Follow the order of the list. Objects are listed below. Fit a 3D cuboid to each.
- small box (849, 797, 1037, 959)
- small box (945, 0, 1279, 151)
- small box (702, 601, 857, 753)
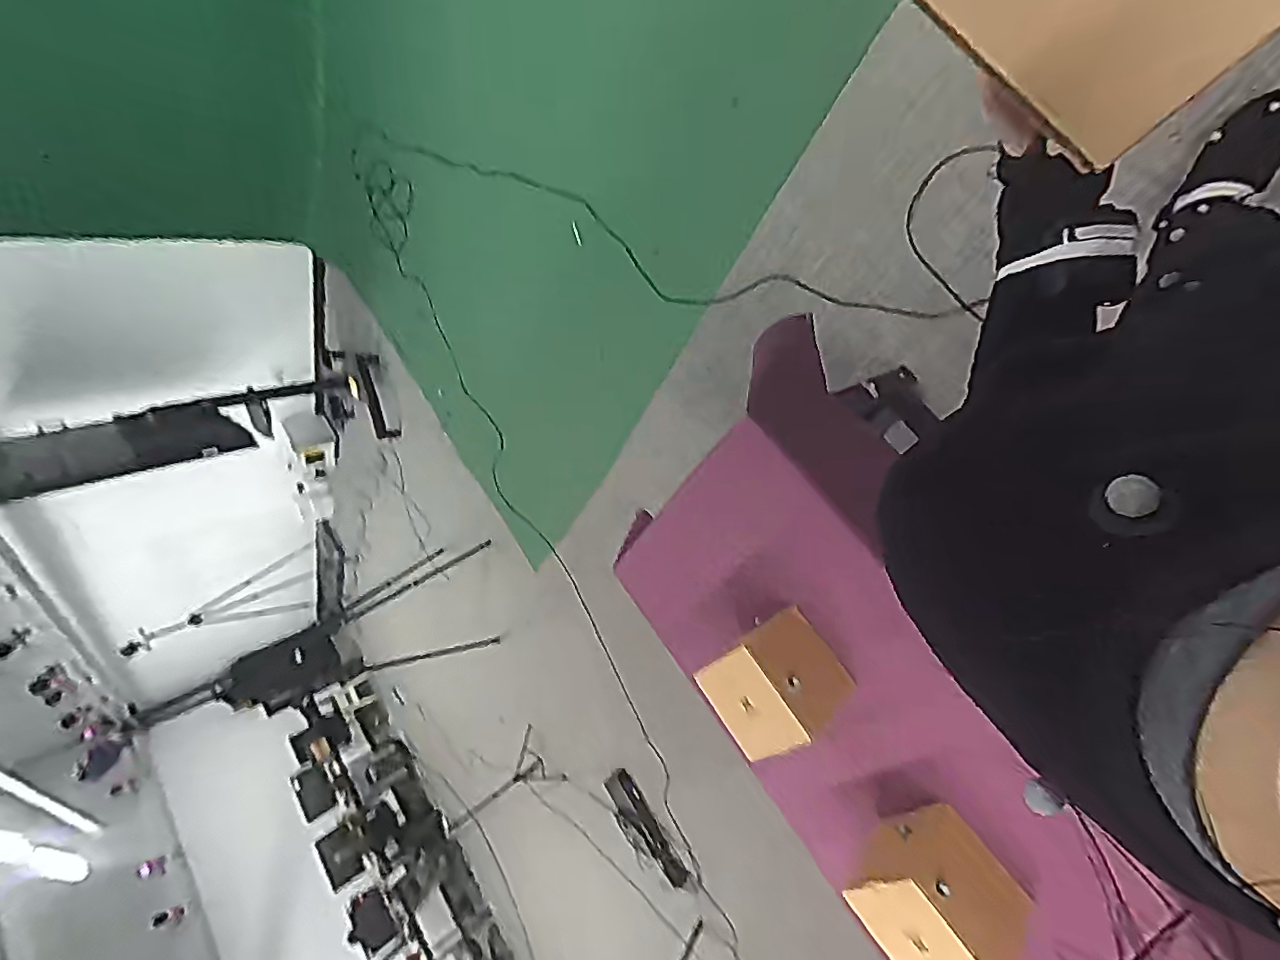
[{"bbox_3d":[0.483,0.653,0.863,0.179,0.176,0.168,50,136,21],"label":"small box"},{"bbox_3d":[0.251,-0.314,0.259,0.179,0.168,0.176,39,144,-6],"label":"small box"},{"bbox_3d":[0.253,0.351,0.975,0.179,0.176,0.168,55,137,16],"label":"small box"}]
